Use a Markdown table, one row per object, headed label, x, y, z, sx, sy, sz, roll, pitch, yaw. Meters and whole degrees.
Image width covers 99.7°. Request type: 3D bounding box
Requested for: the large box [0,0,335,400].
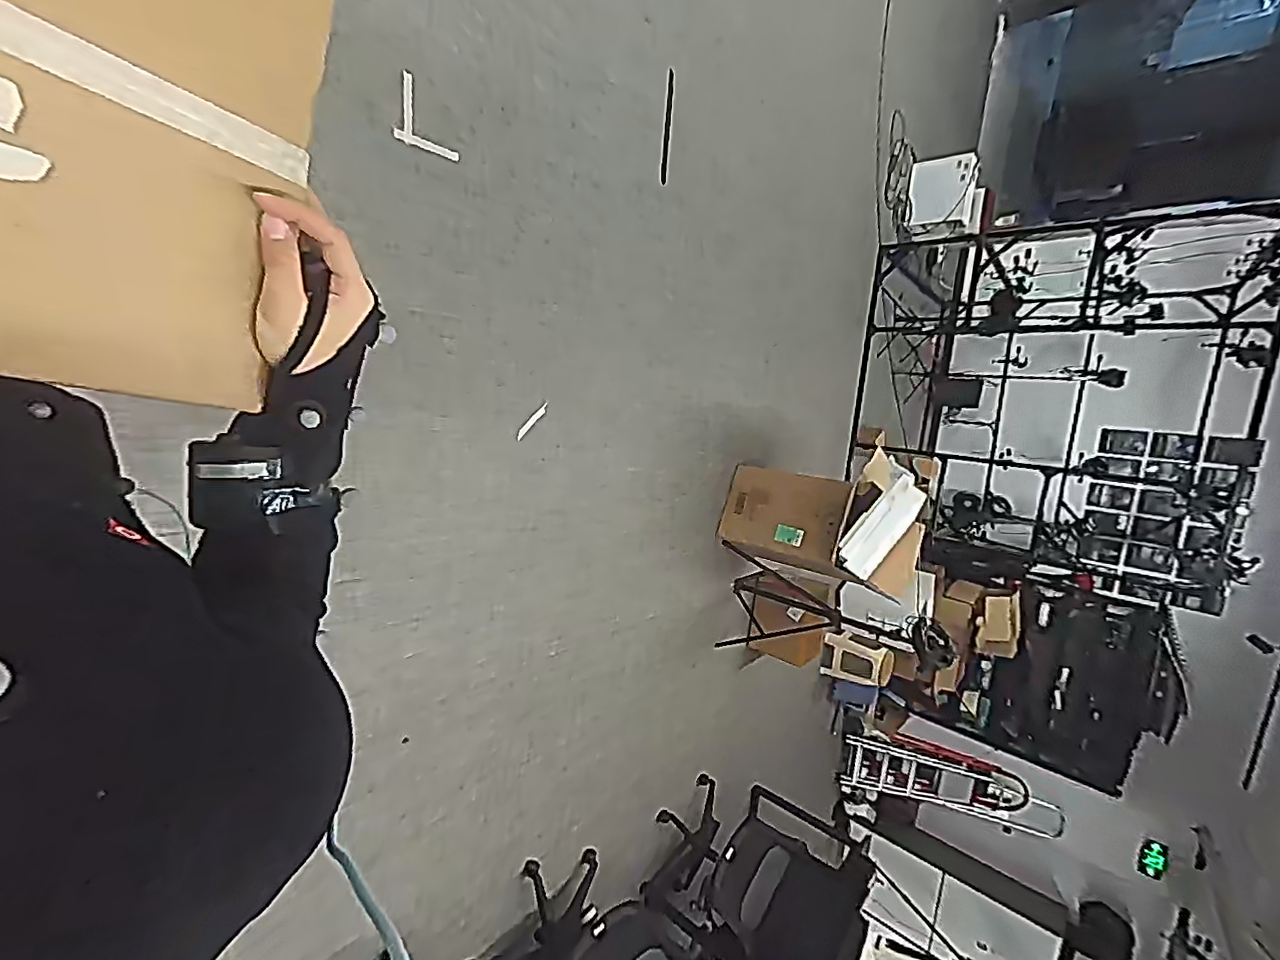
| label | x | y | z | sx | sy | sz | roll | pitch | yaw |
| --- | --- | --- | --- | --- | --- | --- | --- | --- | --- |
| large box | -0.454 | -0.246 | 0.287 | 0.408 | 0.320 | 0.320 | 6 | 100 | -52 |
